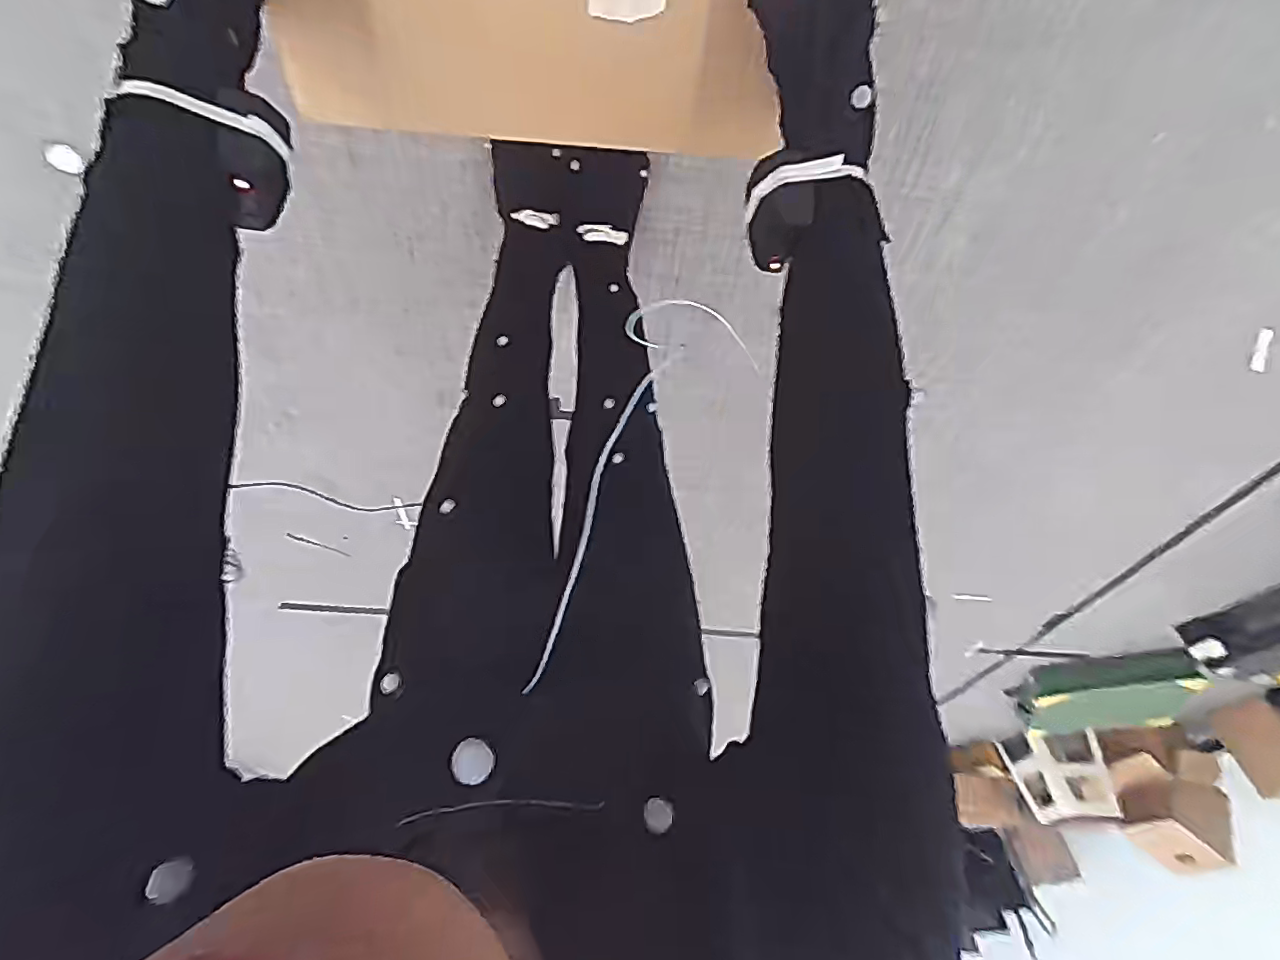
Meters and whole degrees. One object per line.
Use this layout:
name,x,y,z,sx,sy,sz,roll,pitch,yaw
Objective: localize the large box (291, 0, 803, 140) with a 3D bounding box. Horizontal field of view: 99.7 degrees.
large box,-0.069,-0.527,0.468,0.408,0.320,0.320,3,139,-3
